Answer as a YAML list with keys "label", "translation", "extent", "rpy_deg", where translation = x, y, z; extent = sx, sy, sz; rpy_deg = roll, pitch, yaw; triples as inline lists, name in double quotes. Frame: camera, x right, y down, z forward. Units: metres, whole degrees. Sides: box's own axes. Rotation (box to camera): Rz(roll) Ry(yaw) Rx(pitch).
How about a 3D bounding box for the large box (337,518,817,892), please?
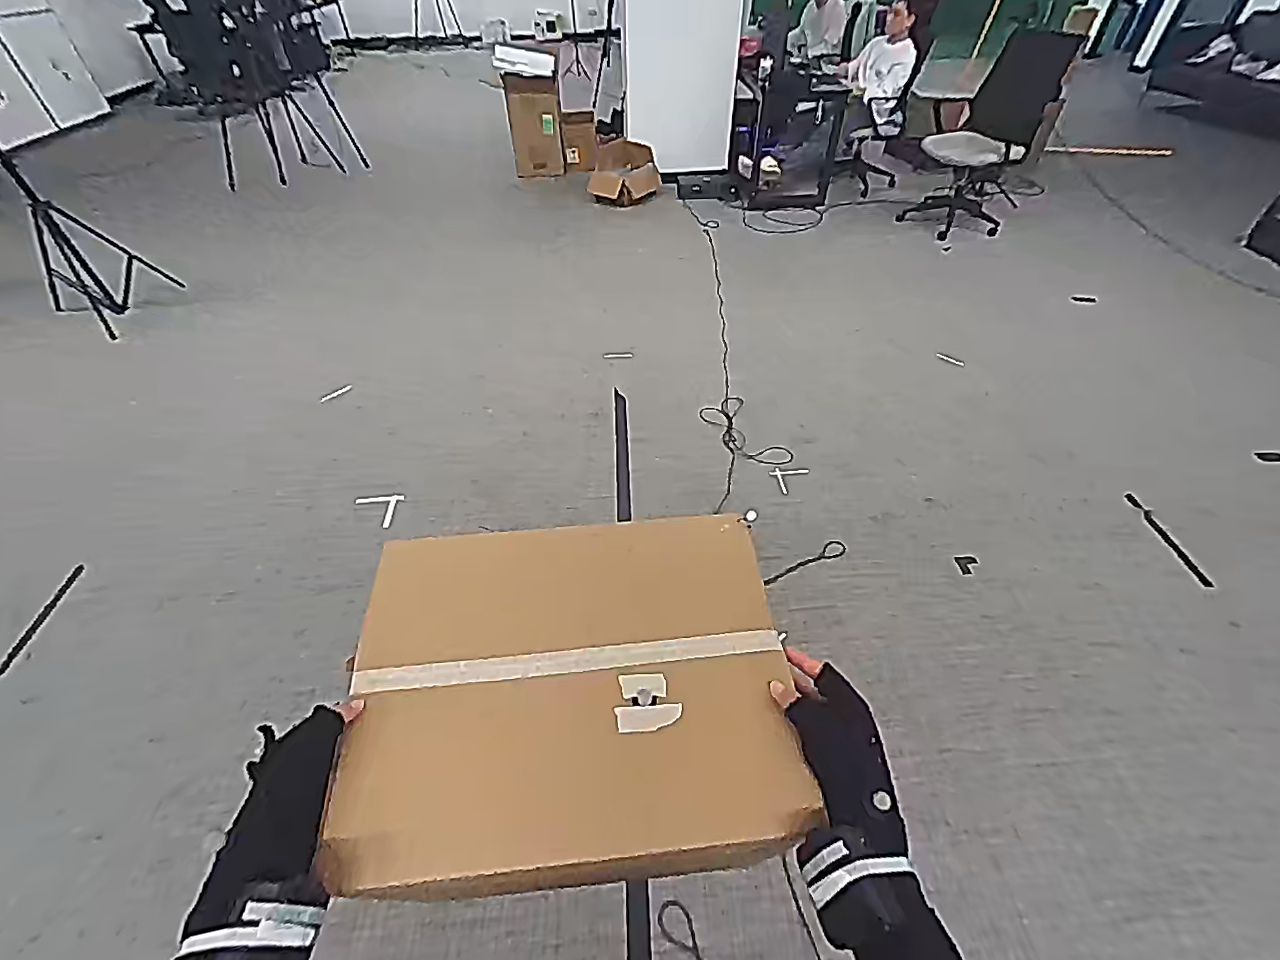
- label: "large box"
  translation: [-0.063, 0.272, 0.649]
  extent: [0.408, 0.320, 0.320]
  rpy_deg: [-4, 52, -4]
